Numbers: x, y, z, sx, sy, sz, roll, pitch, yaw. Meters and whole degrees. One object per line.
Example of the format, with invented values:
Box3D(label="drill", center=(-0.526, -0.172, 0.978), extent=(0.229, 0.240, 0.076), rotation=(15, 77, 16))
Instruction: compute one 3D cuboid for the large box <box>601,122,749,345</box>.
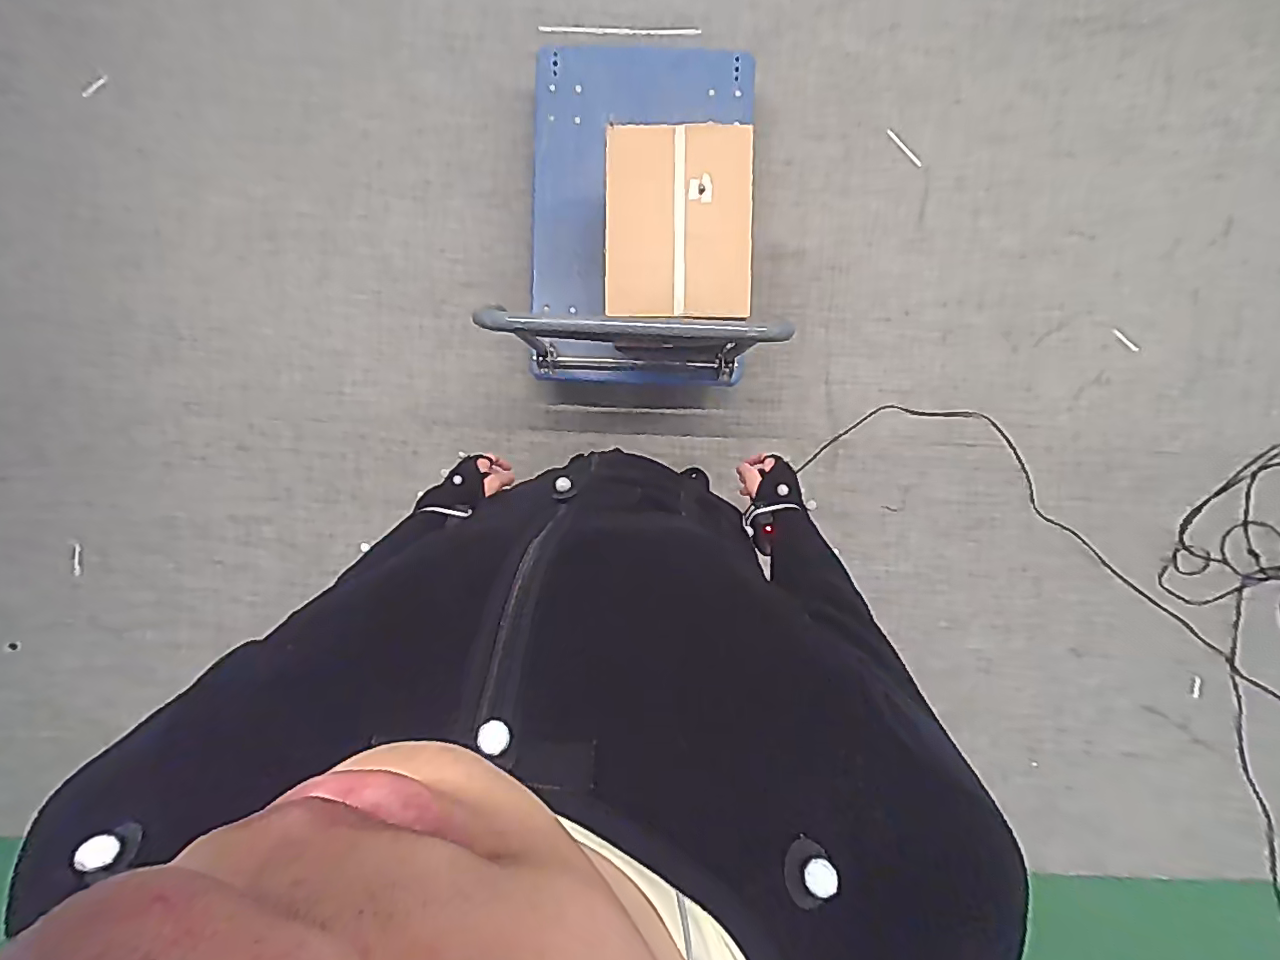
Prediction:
Box3D(label="large box", center=(0.076, -0.554, 1.289), extent=(0.320, 0.320, 0.408), rotation=(1, 92, -1))
